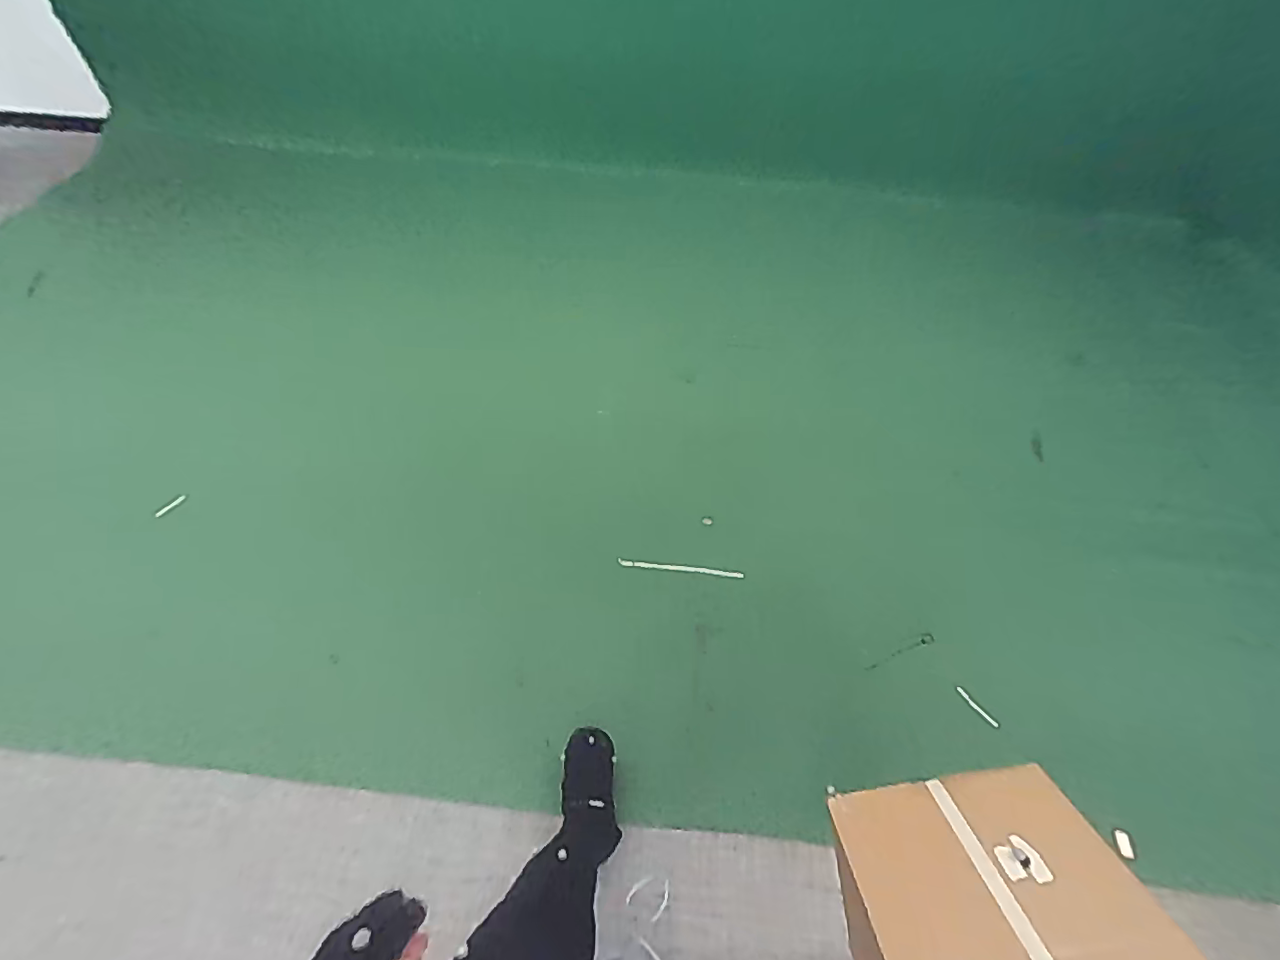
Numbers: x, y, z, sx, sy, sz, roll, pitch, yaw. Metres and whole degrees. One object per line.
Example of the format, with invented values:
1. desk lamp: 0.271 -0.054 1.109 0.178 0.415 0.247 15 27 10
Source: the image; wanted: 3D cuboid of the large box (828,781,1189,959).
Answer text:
1. large box: 0.464 0.668 0.657 0.320 0.320 0.408 -11 14 4
